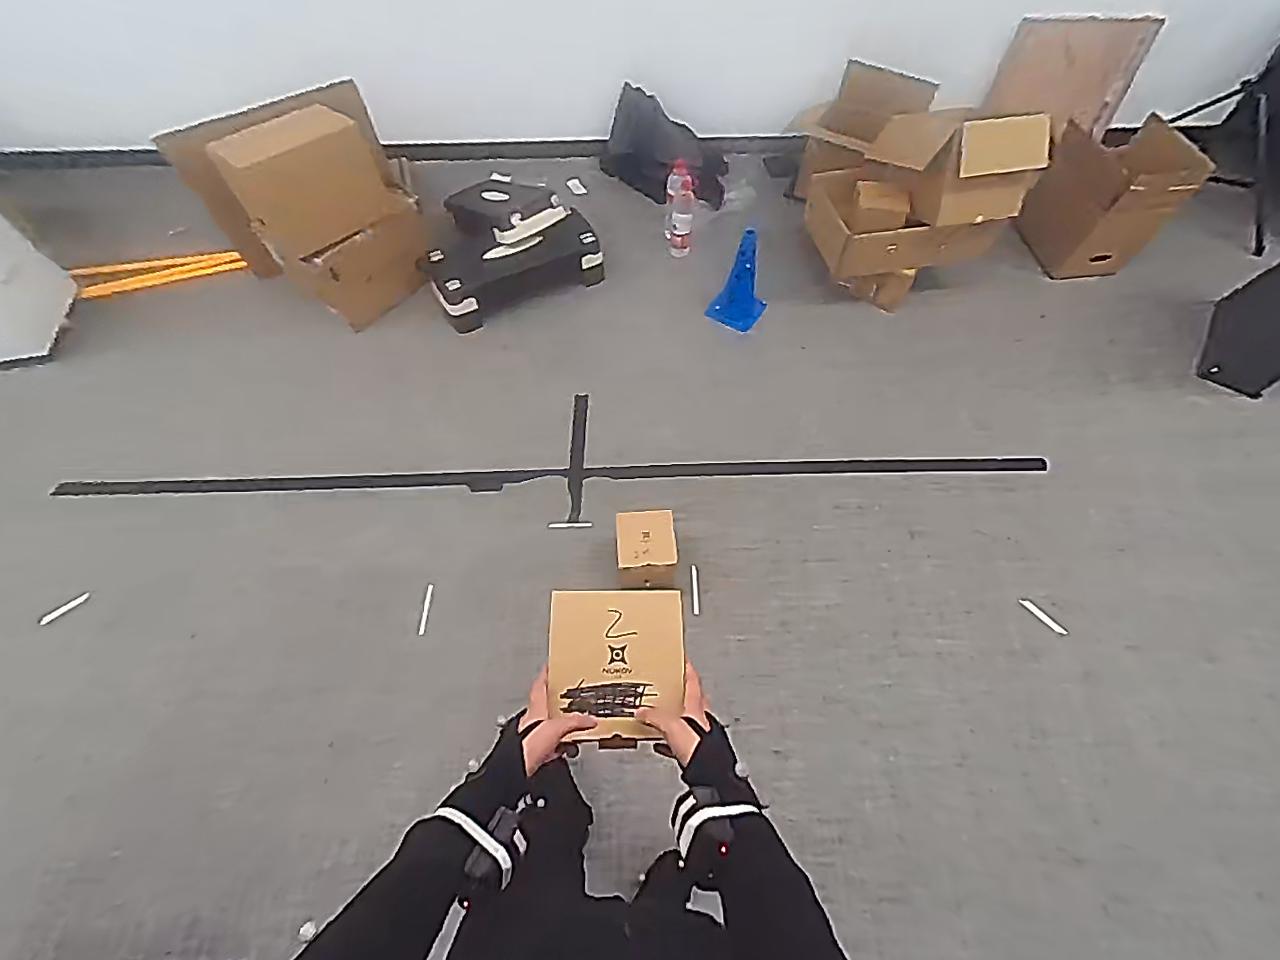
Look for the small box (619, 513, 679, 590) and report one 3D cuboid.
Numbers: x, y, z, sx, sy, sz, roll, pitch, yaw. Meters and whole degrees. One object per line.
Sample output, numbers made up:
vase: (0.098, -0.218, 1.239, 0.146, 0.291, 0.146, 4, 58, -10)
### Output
small box: (0.021, 0.214, 1.602, 0.168, 0.176, 0.179, -3, 61, -1)
